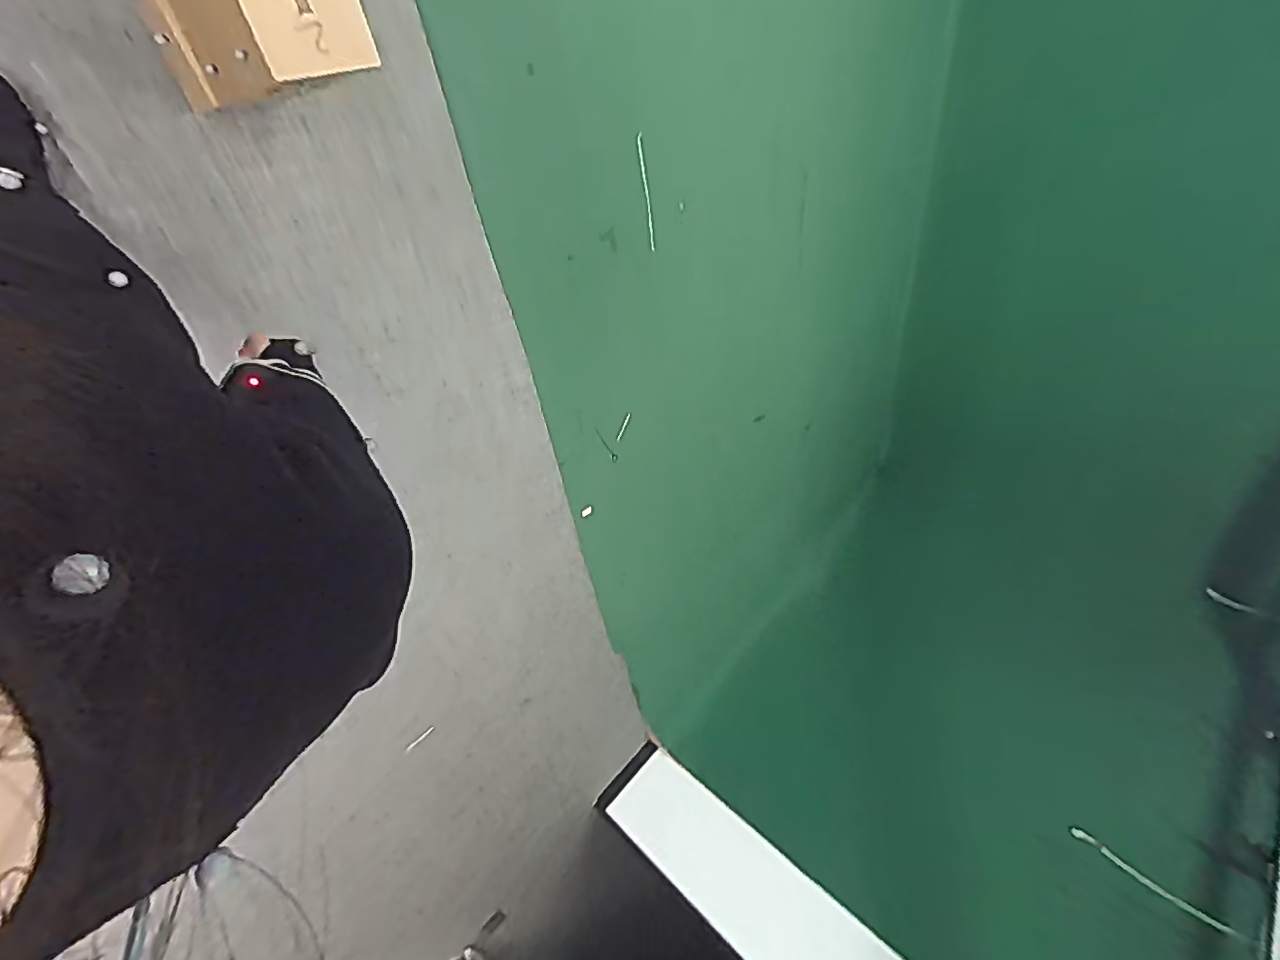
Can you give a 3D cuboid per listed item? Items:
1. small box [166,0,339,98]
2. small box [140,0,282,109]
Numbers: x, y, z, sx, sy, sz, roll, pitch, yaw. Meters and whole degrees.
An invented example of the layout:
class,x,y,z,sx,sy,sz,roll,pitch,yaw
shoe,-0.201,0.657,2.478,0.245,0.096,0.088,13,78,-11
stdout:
class,x,y,z,sx,sy,sz,roll,pitch,yaw
small box,-0.645,-0.750,0.895,0.168,0.176,0.179,-38,134,-32
small box,-0.767,-0.799,0.992,0.179,0.176,0.168,-39,135,-30
